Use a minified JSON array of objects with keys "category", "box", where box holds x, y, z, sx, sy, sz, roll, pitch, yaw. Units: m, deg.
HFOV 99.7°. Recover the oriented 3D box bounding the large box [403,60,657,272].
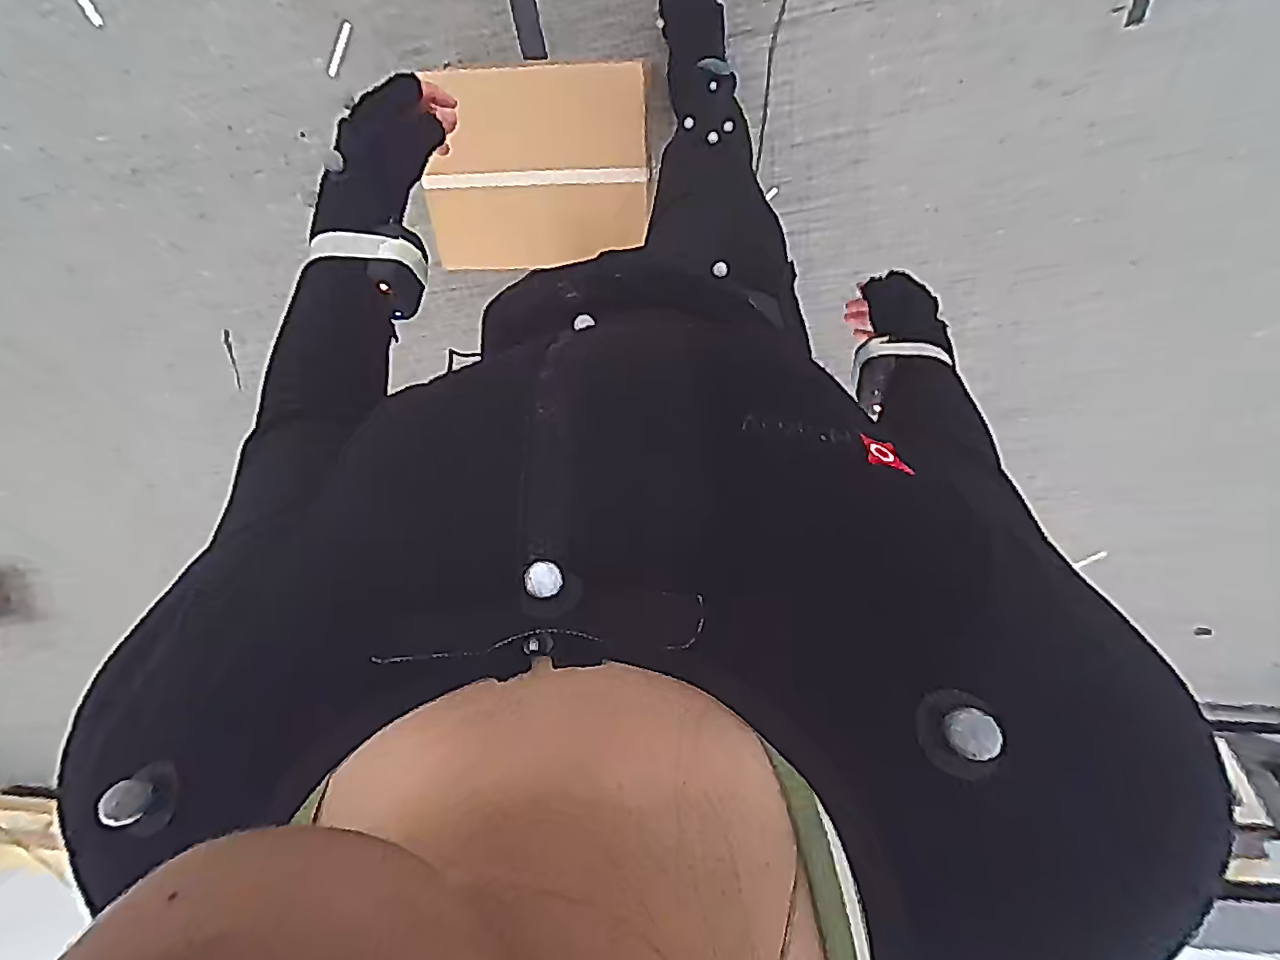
[{"category":"large box","box":[-0.173,-0.621,1.063,0.408,0.320,0.320,1,130,4]}]
